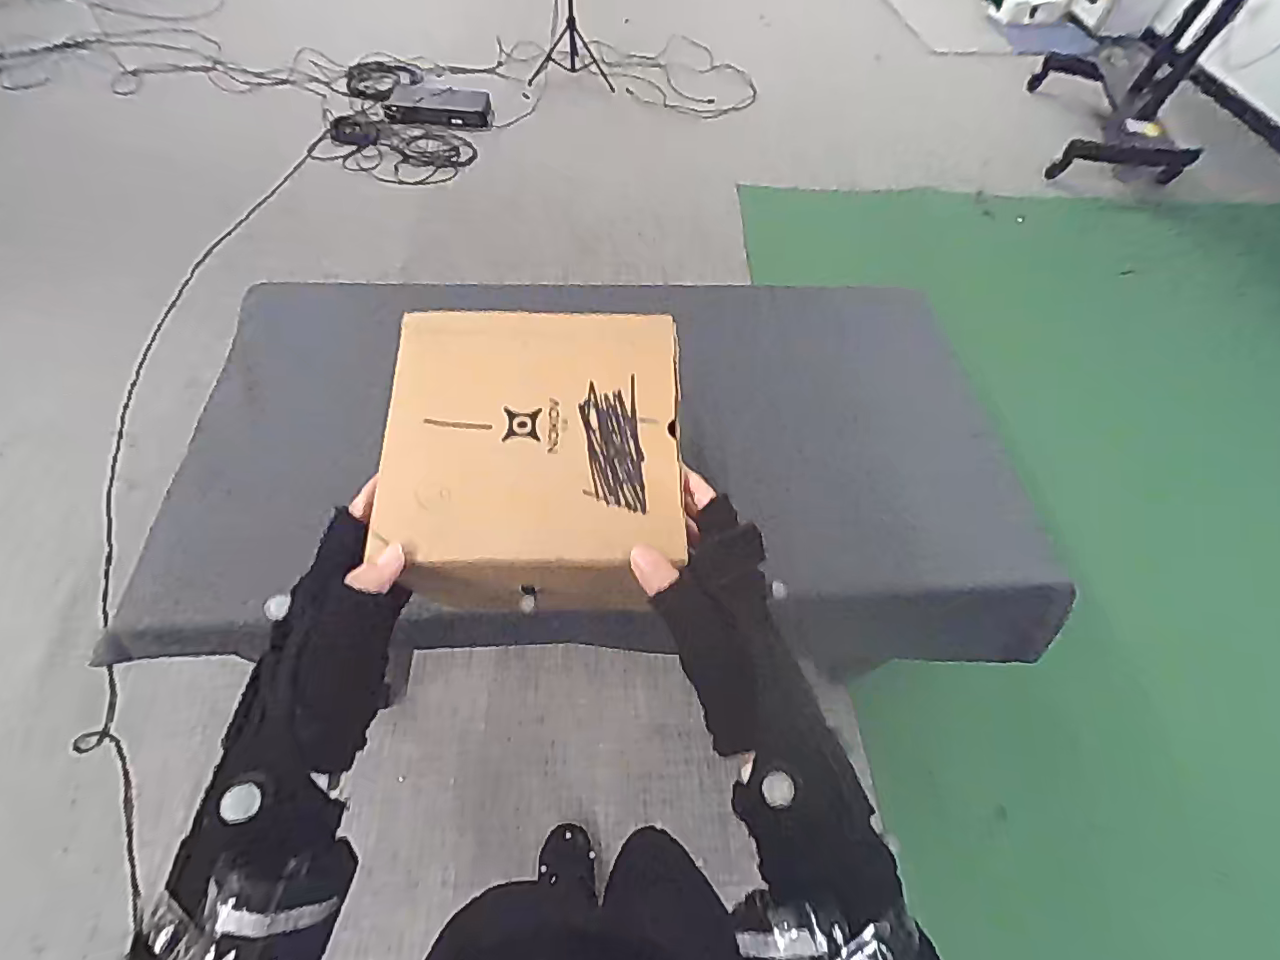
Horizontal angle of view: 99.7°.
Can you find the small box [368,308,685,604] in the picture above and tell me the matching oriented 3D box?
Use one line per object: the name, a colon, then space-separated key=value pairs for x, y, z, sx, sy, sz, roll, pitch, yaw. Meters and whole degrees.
small box: x=-0.068 y=-0.004 z=0.400 sx=0.179 sy=0.176 sz=0.168 roll=0 pitch=69 yaw=-4
